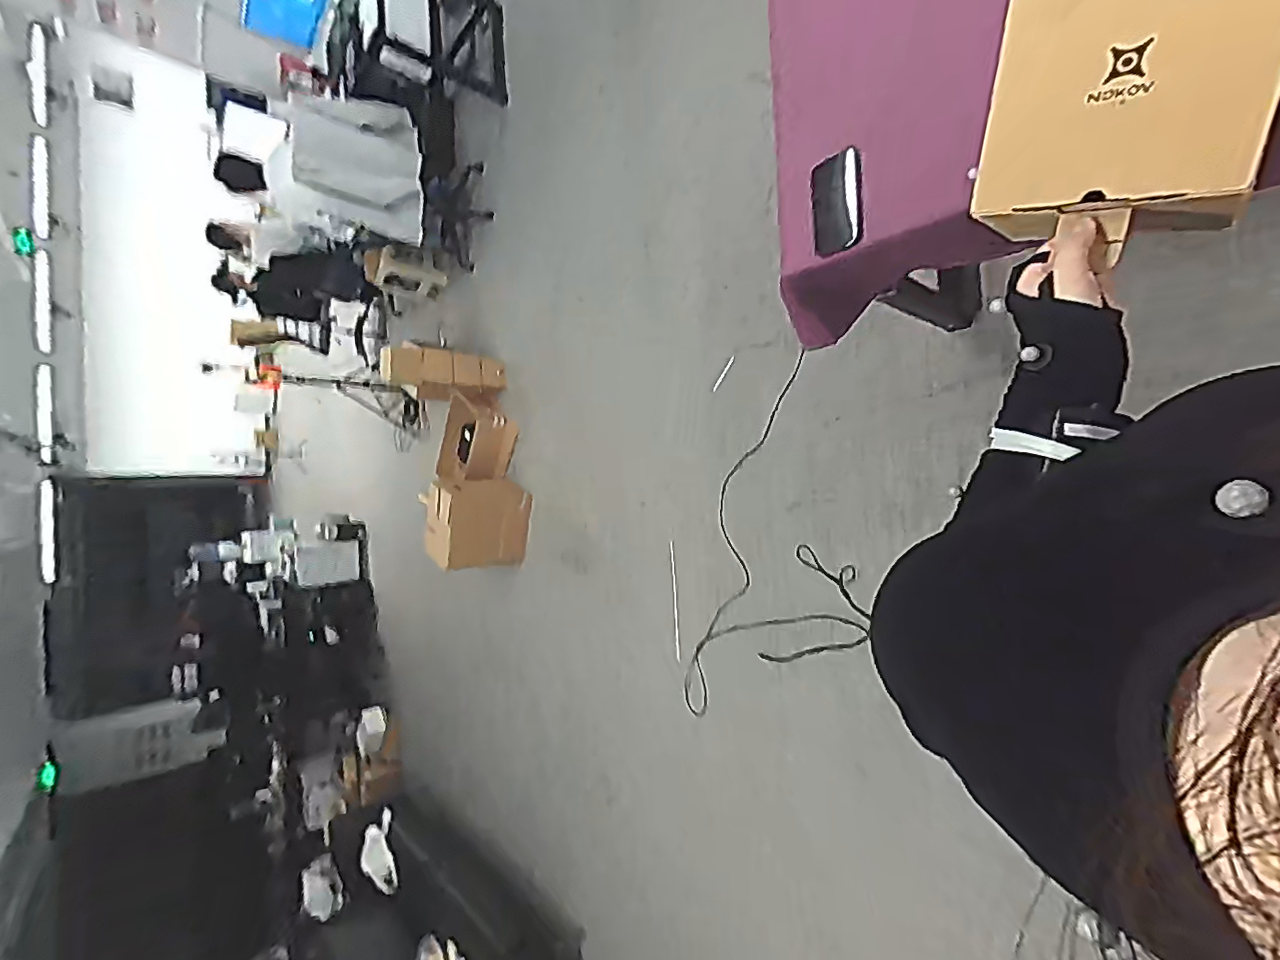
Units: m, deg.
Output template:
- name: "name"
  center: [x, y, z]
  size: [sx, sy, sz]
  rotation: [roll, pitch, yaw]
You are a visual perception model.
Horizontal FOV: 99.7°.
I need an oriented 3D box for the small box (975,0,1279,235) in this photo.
- name: "small box"
  center: [0.401, -0.306, 0.439]
  size: [0.168, 0.176, 0.179]
  rotation: [18, 114, 39]
